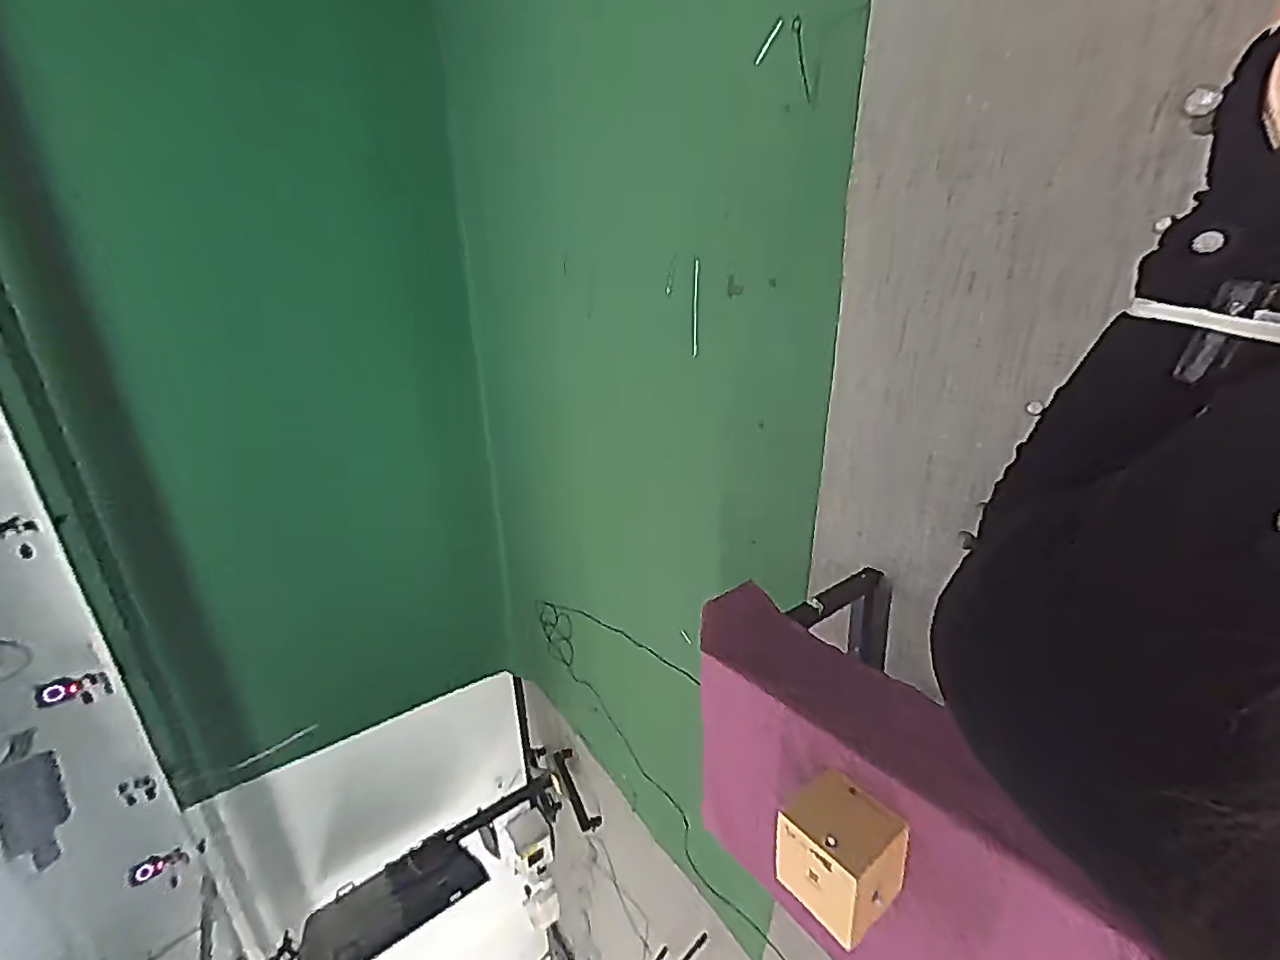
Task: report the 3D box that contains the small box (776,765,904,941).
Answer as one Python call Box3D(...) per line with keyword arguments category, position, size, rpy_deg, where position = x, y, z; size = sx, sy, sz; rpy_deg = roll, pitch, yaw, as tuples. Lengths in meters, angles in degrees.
Box3D(category="small box", position=(0.377, 0.694, 1.026), size=(0.168, 0.176, 0.179), rpy_deg=(19, 120, 49))
